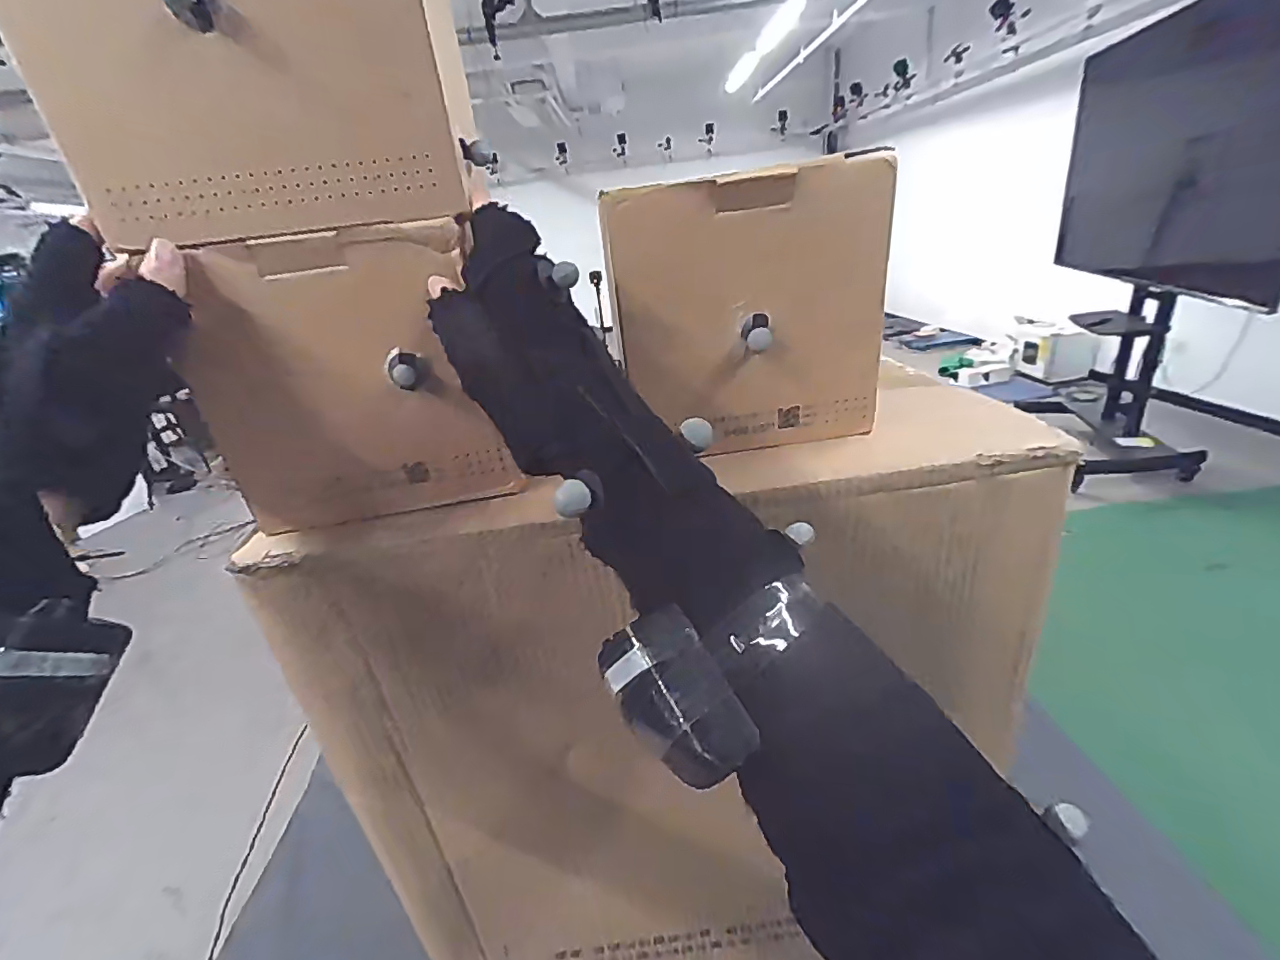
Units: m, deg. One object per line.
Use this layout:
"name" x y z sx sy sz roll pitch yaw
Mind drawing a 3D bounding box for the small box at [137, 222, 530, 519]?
"small box" -0.179 -0.081 0.389 0.168 0.176 0.179 -8 26 -4

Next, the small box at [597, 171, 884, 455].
"small box" 0.060 -0.125 0.409 0.168 0.176 0.179 -7 27 -2

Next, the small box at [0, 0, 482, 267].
"small box" -0.193 -0.224 0.310 0.179 0.176 0.168 -10 28 -10
